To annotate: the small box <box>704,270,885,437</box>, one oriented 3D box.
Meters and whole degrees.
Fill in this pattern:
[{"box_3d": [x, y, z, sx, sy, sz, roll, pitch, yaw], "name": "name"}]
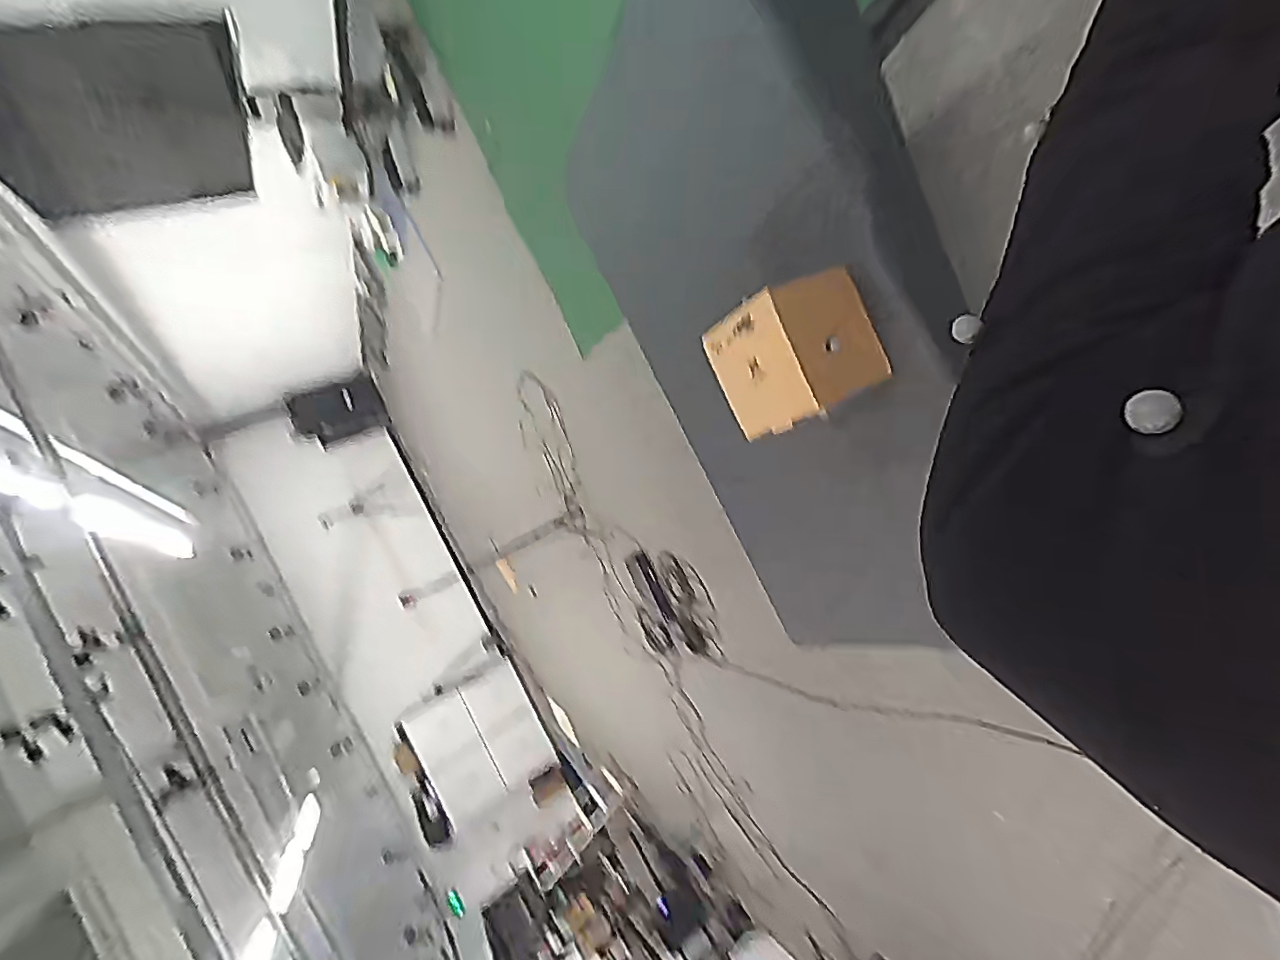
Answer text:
[{"box_3d": [0.236, -0.190, 0.825, 0.179, 0.176, 0.168, 65, 153, -2], "name": "small box"}]
